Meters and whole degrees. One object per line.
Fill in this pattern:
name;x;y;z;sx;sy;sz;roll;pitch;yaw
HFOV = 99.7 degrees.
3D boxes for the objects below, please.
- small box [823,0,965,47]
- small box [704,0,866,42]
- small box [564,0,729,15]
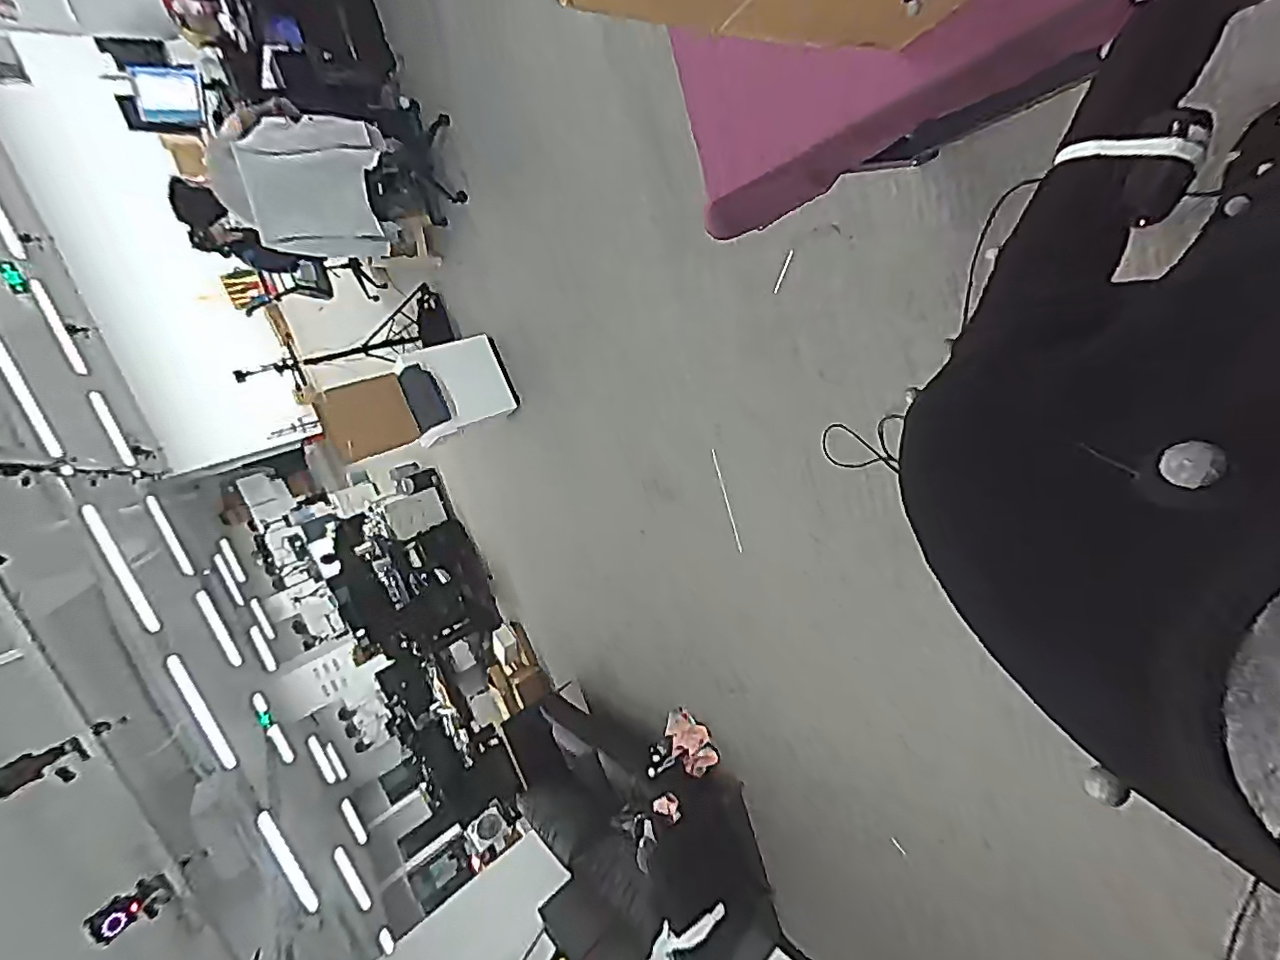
small box;0.275;-0.578;0.544;0.179;0.176;0.168;-2;109;55
small box;0.152;-0.516;0.457;0.179;0.176;0.168;-3;108;54
small box;0.029;-0.461;0.365;0.168;0.176;0.179;1;110;52
